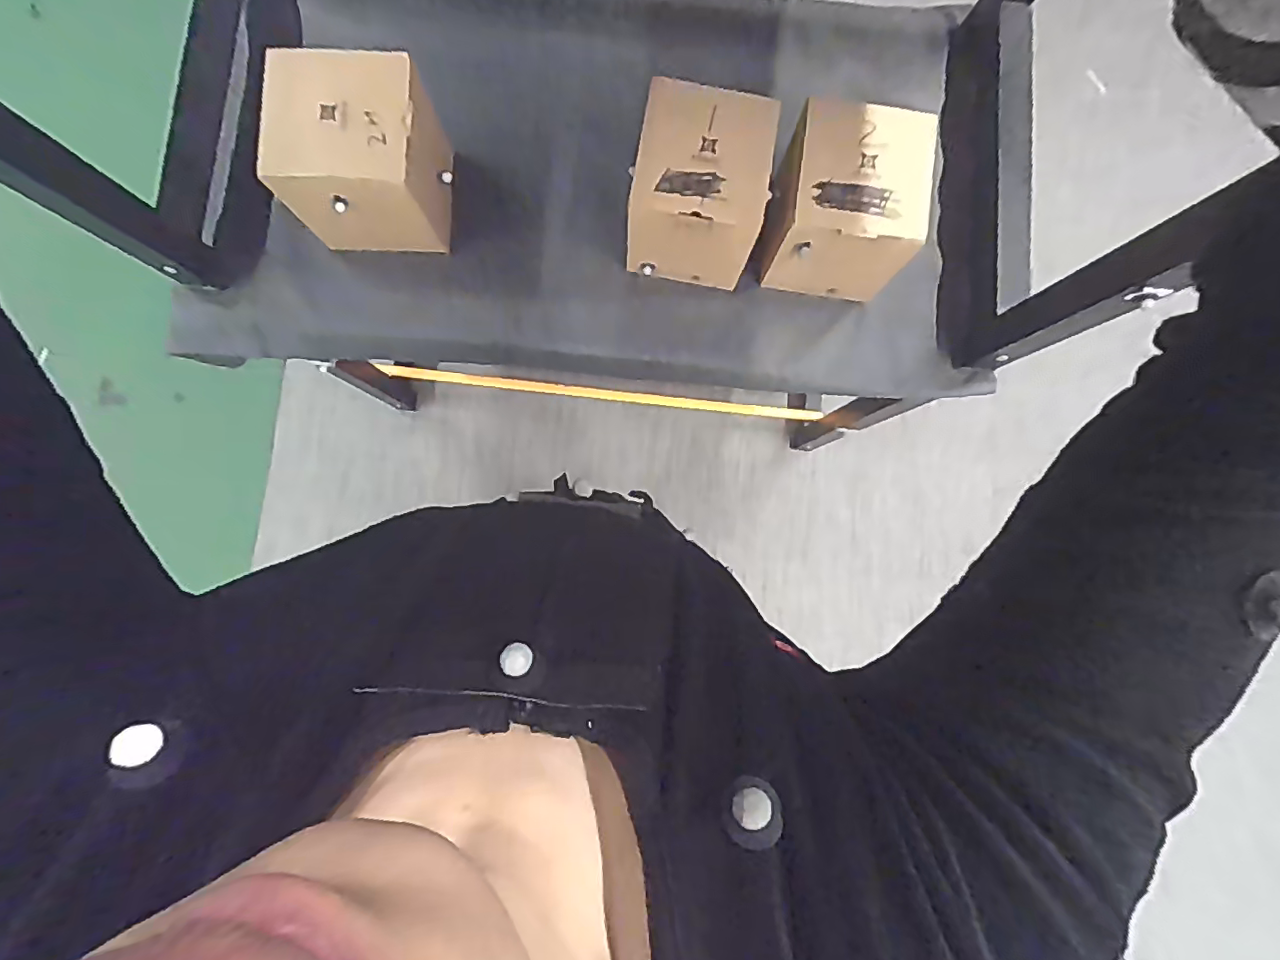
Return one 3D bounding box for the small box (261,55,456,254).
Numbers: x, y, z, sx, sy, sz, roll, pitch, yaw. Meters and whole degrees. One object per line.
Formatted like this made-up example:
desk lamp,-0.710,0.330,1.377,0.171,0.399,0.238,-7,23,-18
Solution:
small box,-0.365,-0.425,0.731,0.179,0.176,0.168,1,85,-3
